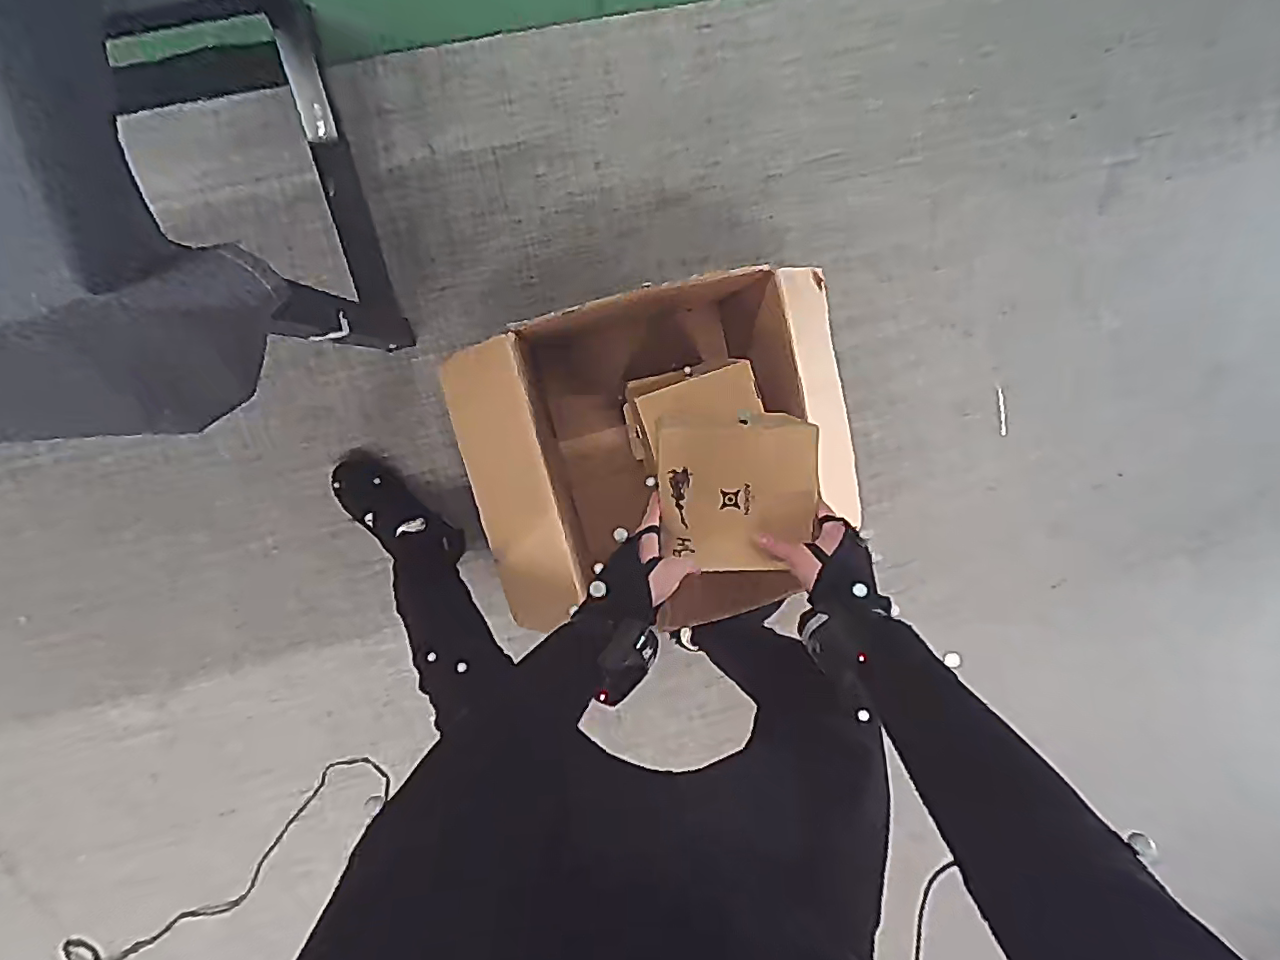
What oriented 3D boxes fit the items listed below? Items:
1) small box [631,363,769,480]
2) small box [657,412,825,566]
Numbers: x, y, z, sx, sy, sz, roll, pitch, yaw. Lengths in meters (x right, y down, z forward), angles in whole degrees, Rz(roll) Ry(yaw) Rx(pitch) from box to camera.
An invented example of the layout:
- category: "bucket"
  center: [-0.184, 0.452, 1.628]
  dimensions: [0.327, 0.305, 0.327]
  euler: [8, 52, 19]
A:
- category: "small box"
  center: [0.097, -0.083, 0.854]
  dimensions: [0.179, 0.176, 0.168]
  euler: [-19, 104, -2]
- category: "small box"
  center: [0.113, 0.002, 0.678]
  dimensions: [0.179, 0.176, 0.168]
  euler: [0, 100, 0]
